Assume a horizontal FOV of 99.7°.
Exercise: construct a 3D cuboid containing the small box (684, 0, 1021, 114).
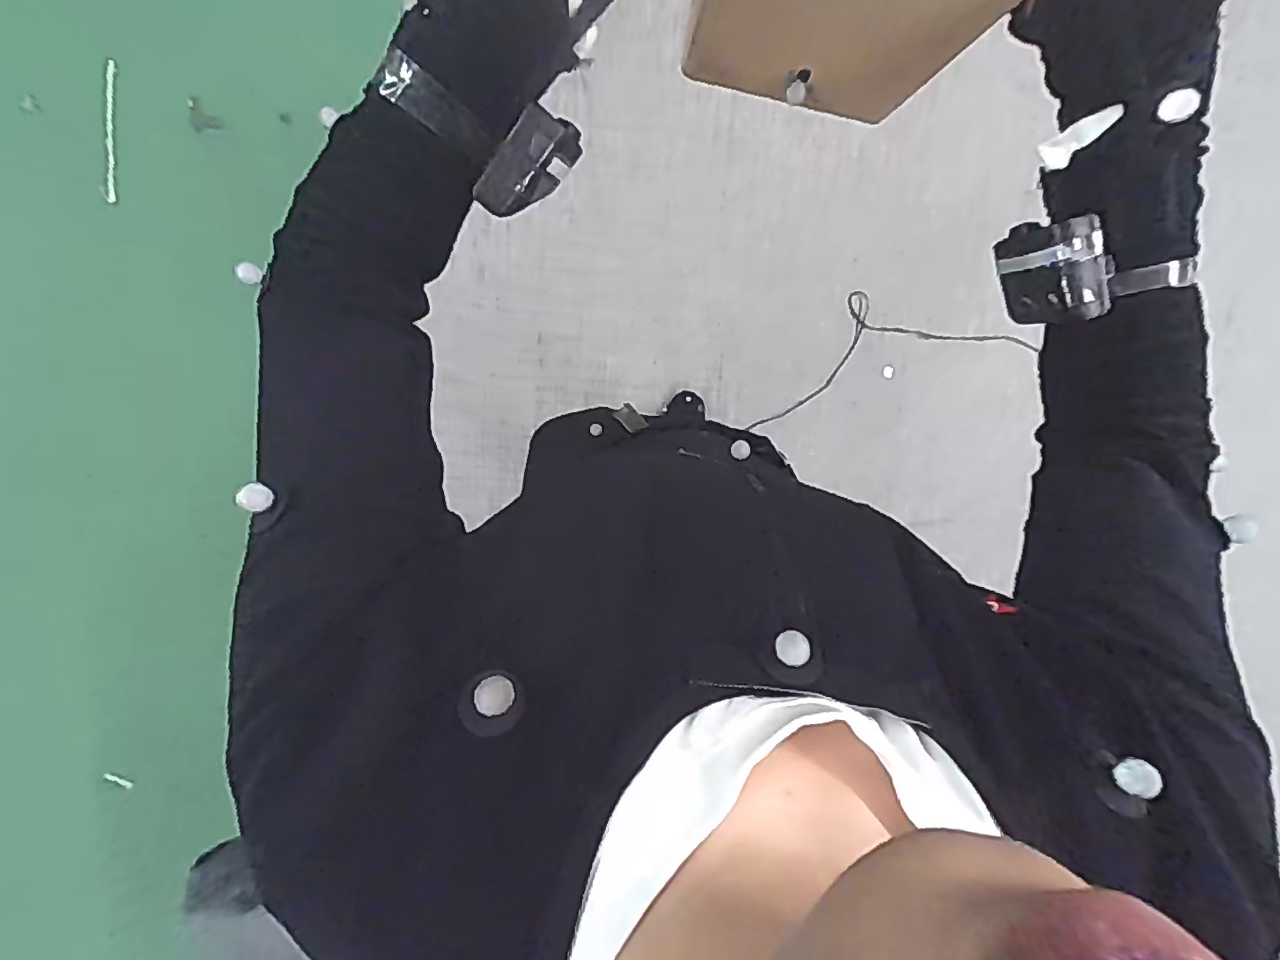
[{"bbox_3d":[0.141,-0.380,0.356,0.179,0.176,0.168,8,98,-8],"label":"small box"}]
